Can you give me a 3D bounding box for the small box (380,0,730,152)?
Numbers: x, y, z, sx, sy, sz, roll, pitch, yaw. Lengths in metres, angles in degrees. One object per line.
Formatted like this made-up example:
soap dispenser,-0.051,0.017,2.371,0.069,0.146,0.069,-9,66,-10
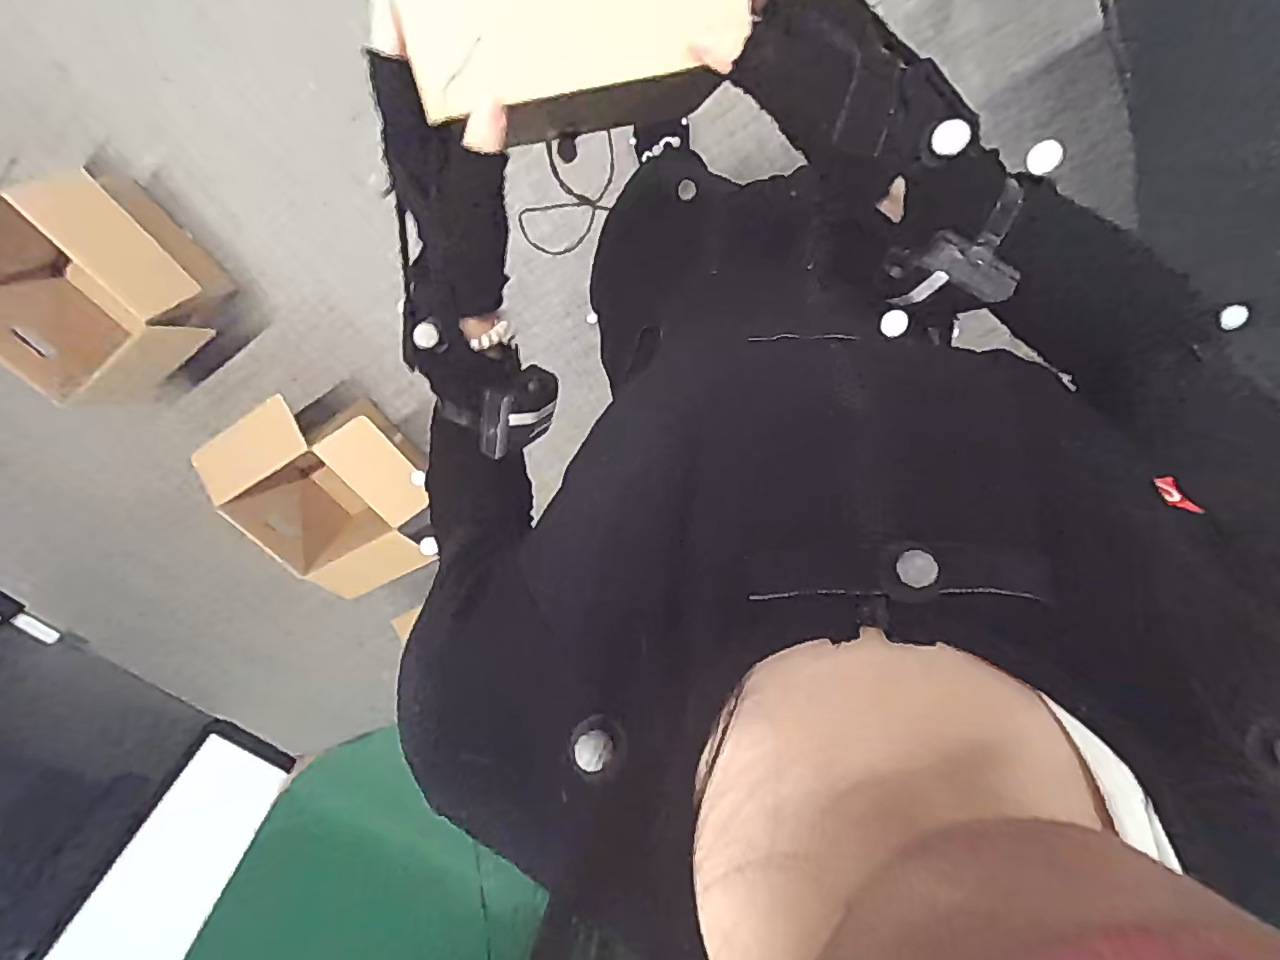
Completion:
small box,-0.055,-0.308,0.306,0.168,0.176,0.179,-11,116,1
